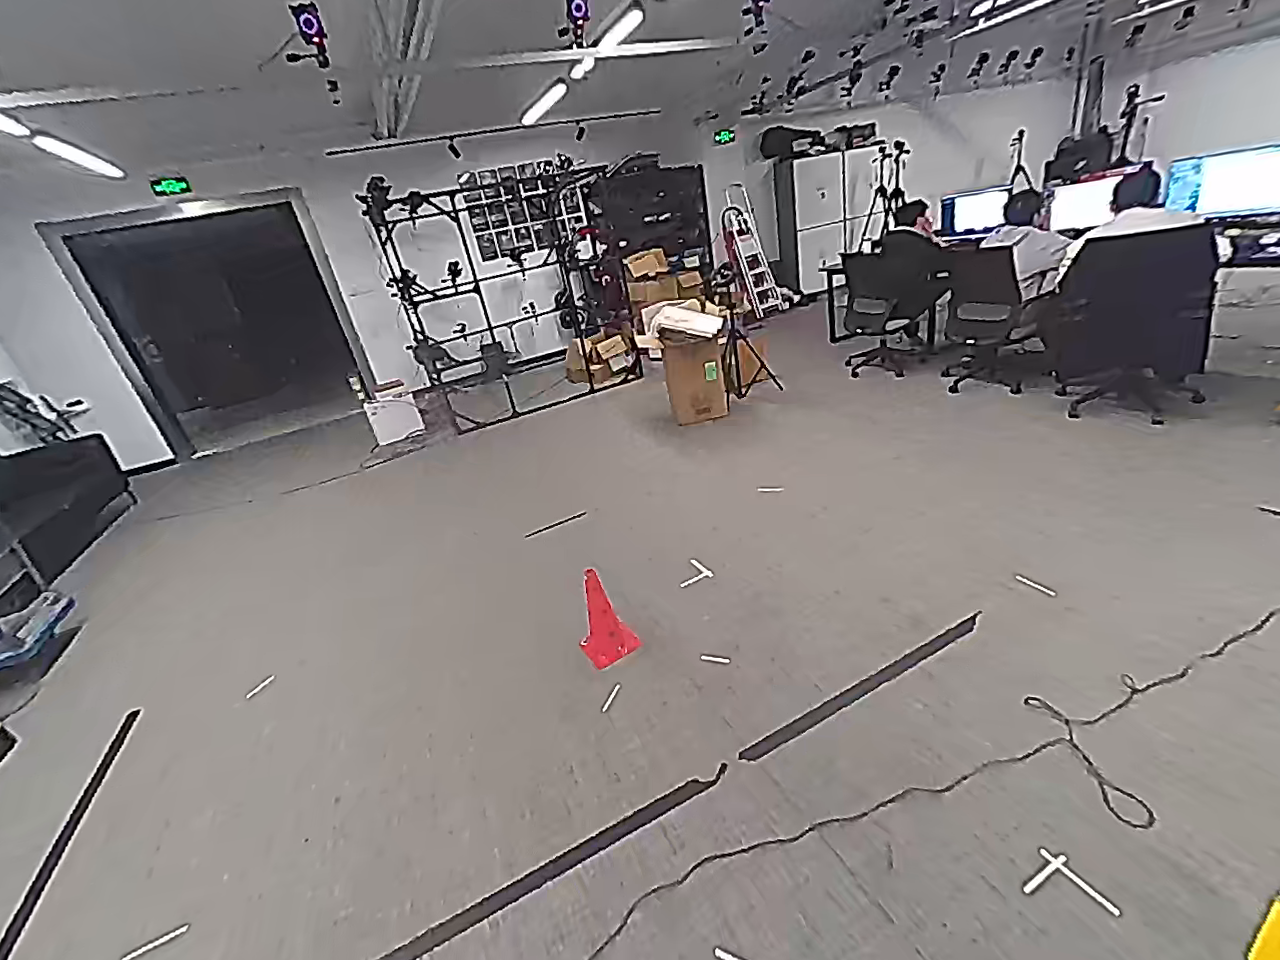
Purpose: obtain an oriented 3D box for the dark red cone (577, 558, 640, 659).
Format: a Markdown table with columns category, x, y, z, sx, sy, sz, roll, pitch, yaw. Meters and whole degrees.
| category | x | y | z | sx | sy | sz | roll | pitch | yaw |
| --- | --- | --- | --- | --- | --- | --- | --- | --- | --- |
| dark red cone | -0.154 | 0.466 | 2.050 | 0.202 | 0.394 | 0.201 | -24 | 28 | -25 |
